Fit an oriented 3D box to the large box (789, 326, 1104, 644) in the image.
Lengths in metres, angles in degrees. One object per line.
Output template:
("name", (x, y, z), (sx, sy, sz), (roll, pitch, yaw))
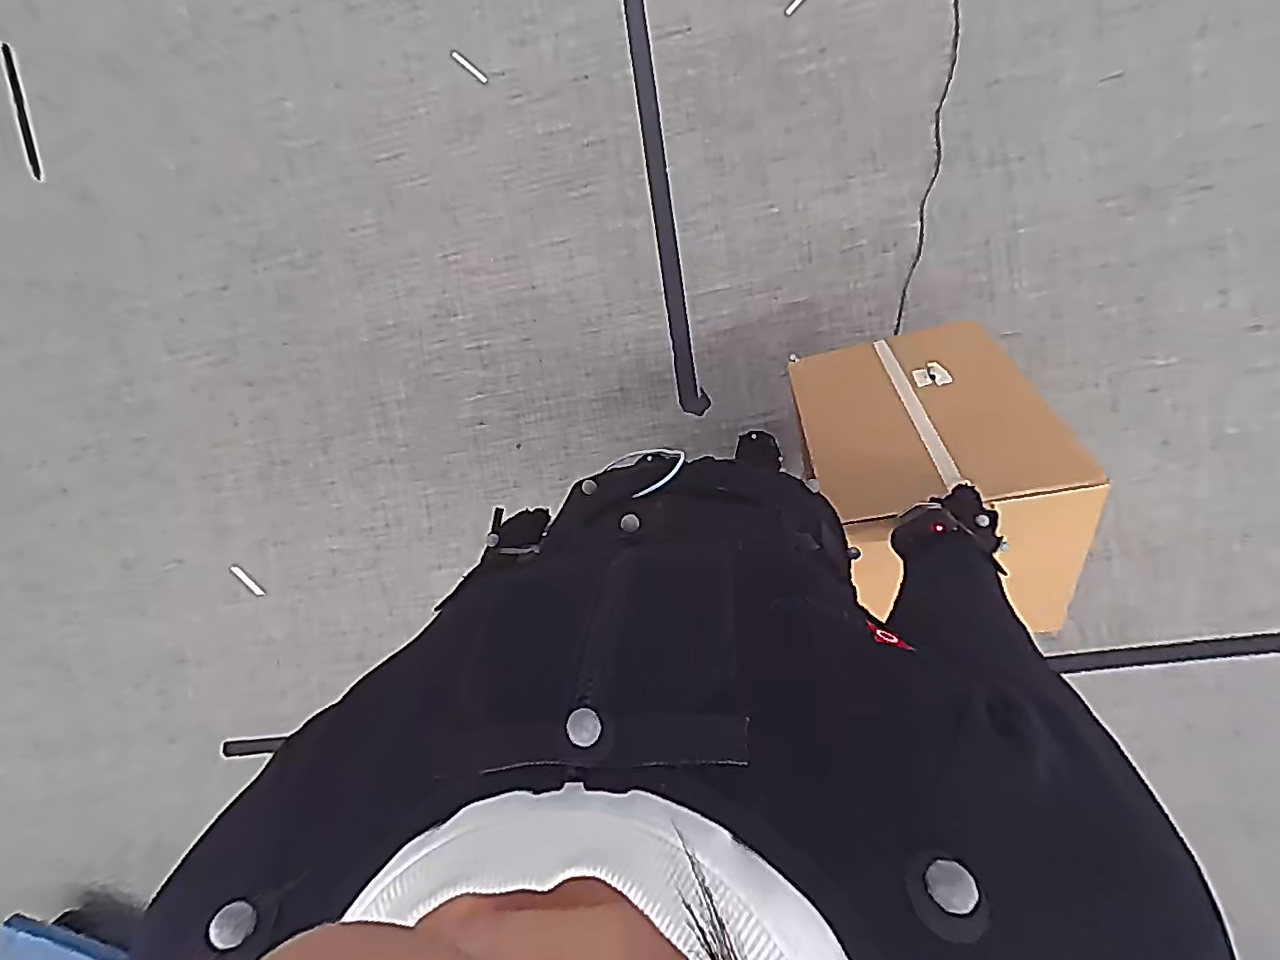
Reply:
("large box", (0.455, 0.004, 0.903), (0.320, 0.408, 0.320), (-10, 130, 13))
